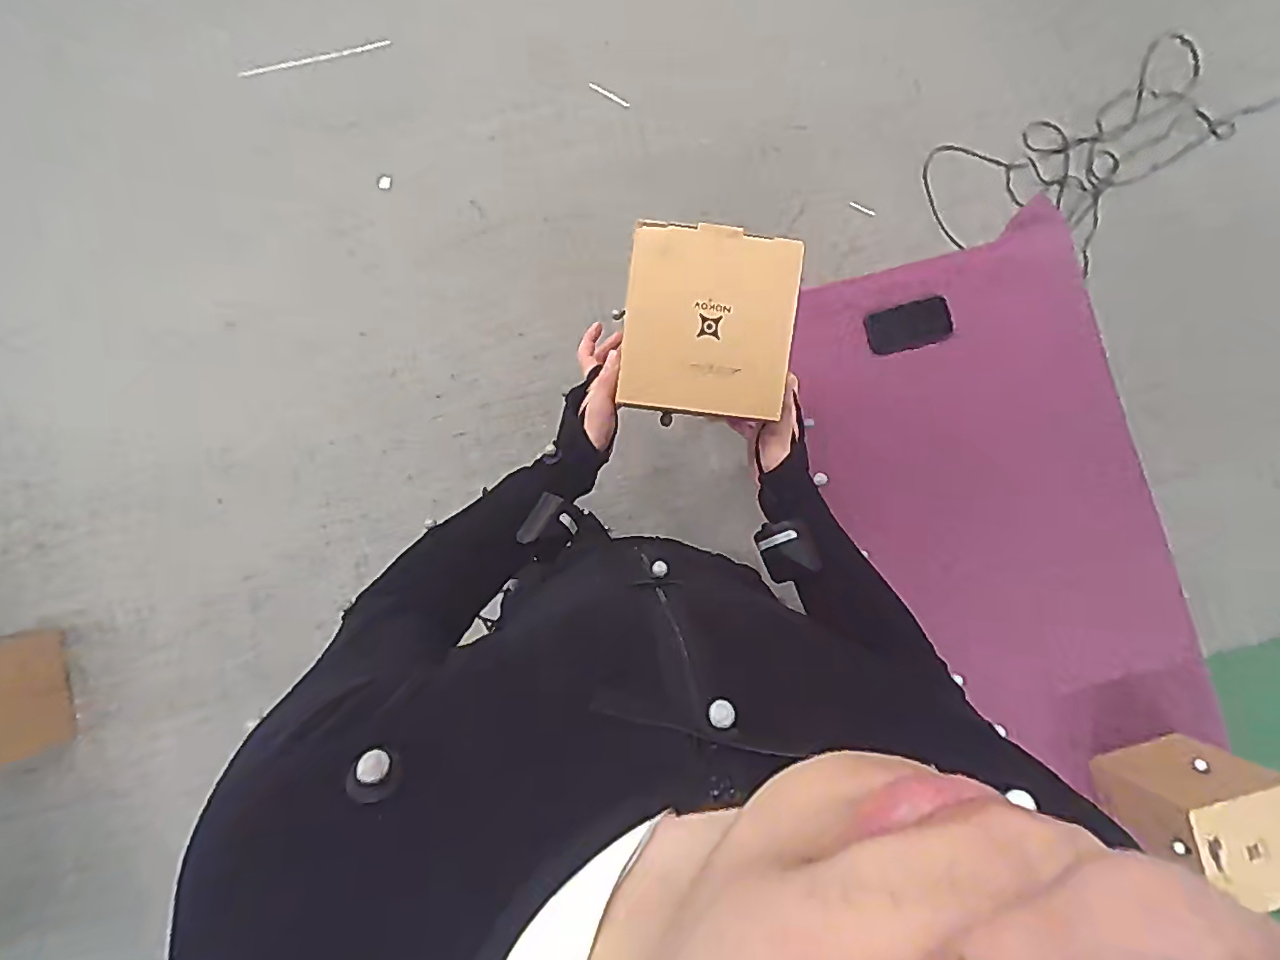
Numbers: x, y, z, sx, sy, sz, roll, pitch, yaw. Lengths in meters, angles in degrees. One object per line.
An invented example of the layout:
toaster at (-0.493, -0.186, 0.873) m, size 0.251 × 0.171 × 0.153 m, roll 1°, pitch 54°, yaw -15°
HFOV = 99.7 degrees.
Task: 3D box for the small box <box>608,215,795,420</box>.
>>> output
small box at (0.055, -0.163, 0.596) m, size 0.168 × 0.176 × 0.179 m, roll 6°, pitch 96°, yaw -2°

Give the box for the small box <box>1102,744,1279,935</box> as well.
small box at (0.885, 0.538, 0.838) m, size 0.179 × 0.176 × 0.168 m, roll -14°, pitch 86°, yaw -3°
